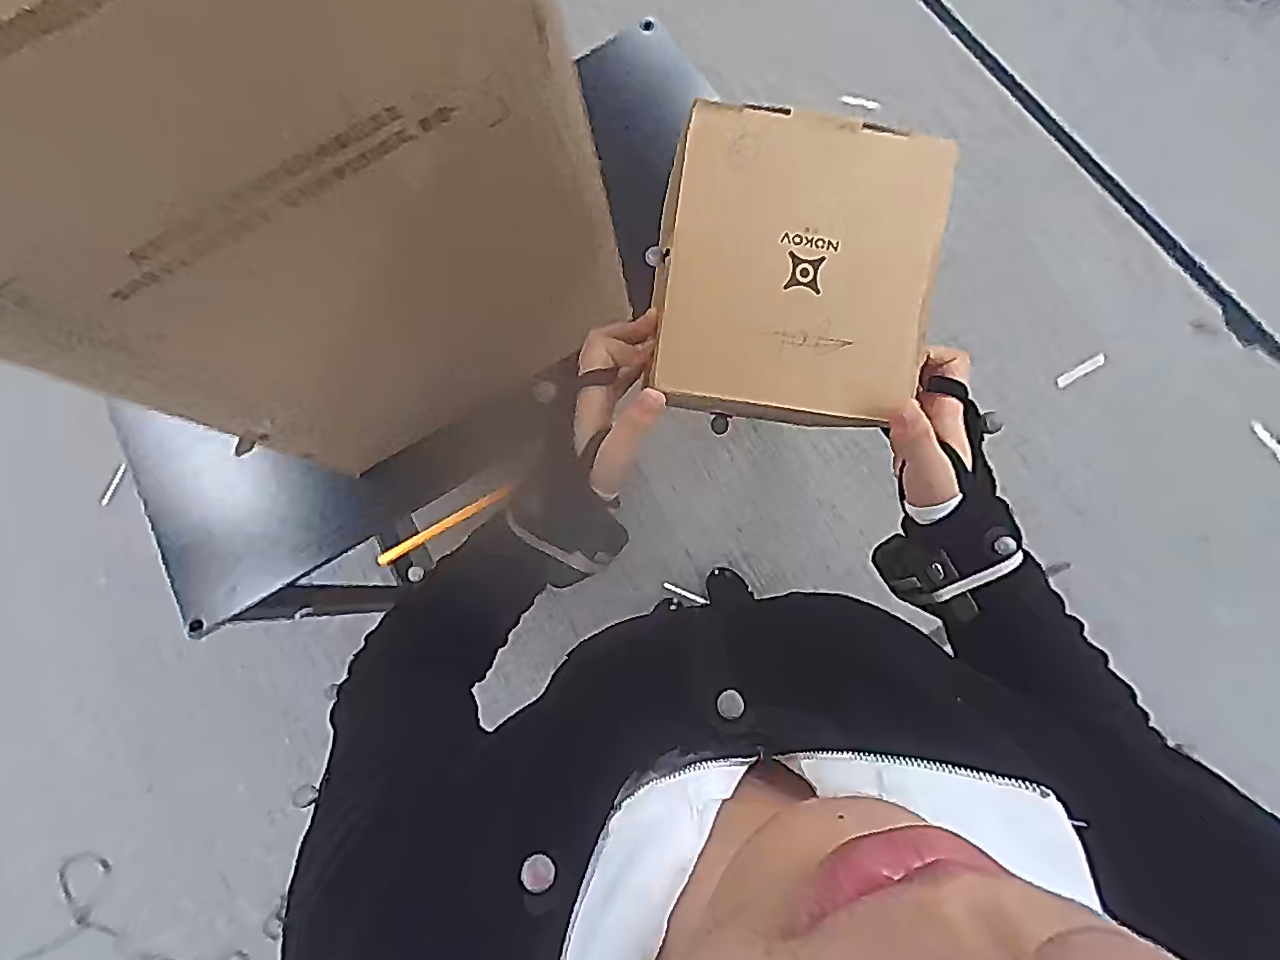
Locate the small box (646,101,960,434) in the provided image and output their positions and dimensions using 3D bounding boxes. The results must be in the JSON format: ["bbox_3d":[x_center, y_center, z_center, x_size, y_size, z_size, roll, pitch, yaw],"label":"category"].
[{"bbox_3d":[0.100,-0.134,0.412,0.168,0.176,0.179,9,94,-4],"label":"small box"}]
